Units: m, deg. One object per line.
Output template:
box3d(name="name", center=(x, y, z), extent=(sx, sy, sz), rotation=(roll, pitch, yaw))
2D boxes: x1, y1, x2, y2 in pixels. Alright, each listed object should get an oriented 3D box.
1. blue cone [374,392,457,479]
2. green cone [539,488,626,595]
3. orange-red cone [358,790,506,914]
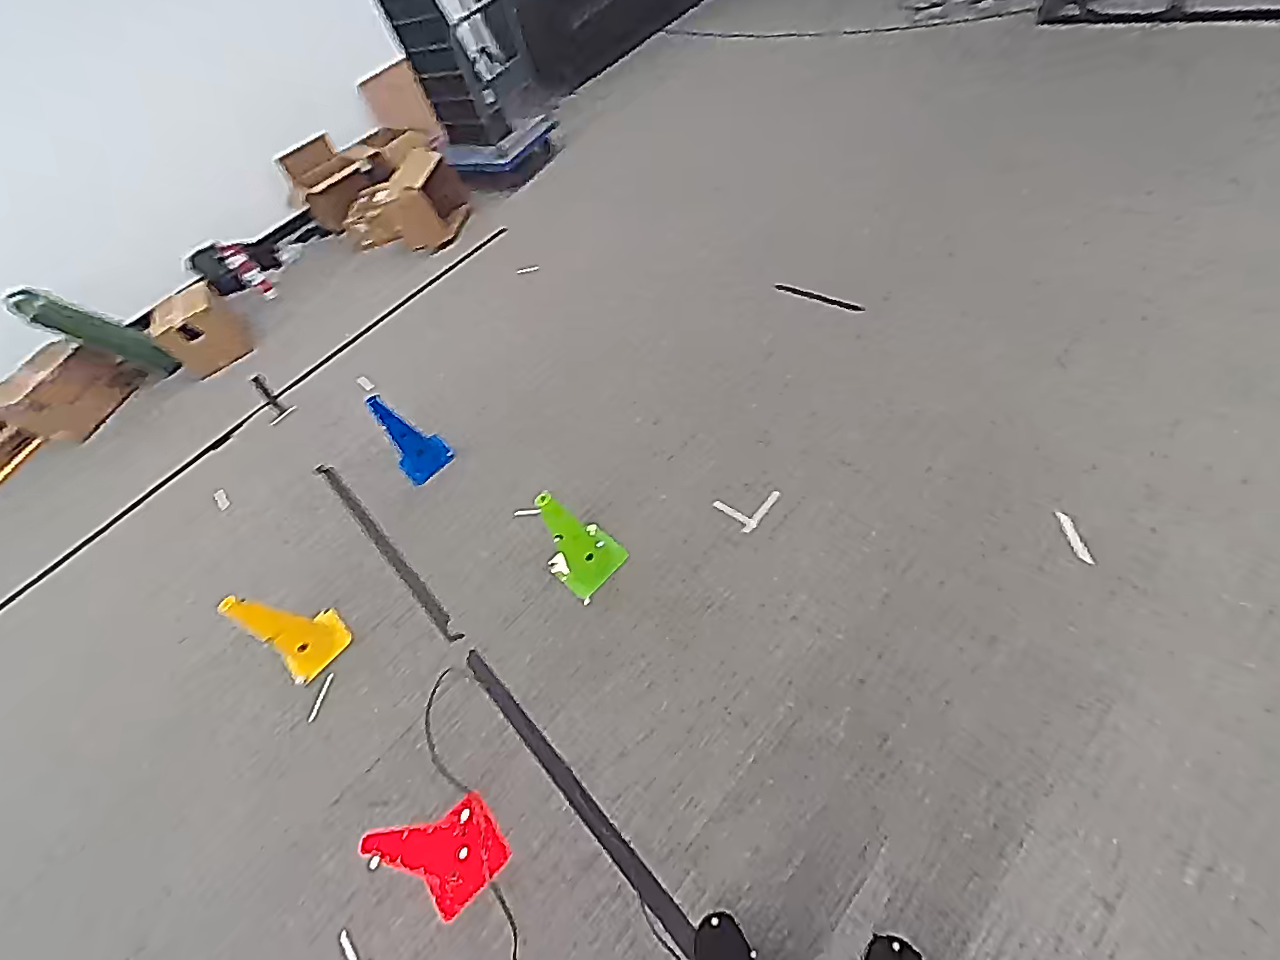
box3d(name="blue cone", center=(-0.903, -0.190, 2.087), extent=(0.192, 0.380, 0.193), rotation=(-41, 53, -14))
box3d(name="green cone", center=(-0.211, 0.147, 1.584), extent=(0.202, 0.368, 0.200), rotation=(-44, 53, -17))
box3d(name="orange-red cone", center=(-0.489, 0.805, 1.193), extent=(0.199, 0.360, 0.198), rotation=(-42, 51, -12))
